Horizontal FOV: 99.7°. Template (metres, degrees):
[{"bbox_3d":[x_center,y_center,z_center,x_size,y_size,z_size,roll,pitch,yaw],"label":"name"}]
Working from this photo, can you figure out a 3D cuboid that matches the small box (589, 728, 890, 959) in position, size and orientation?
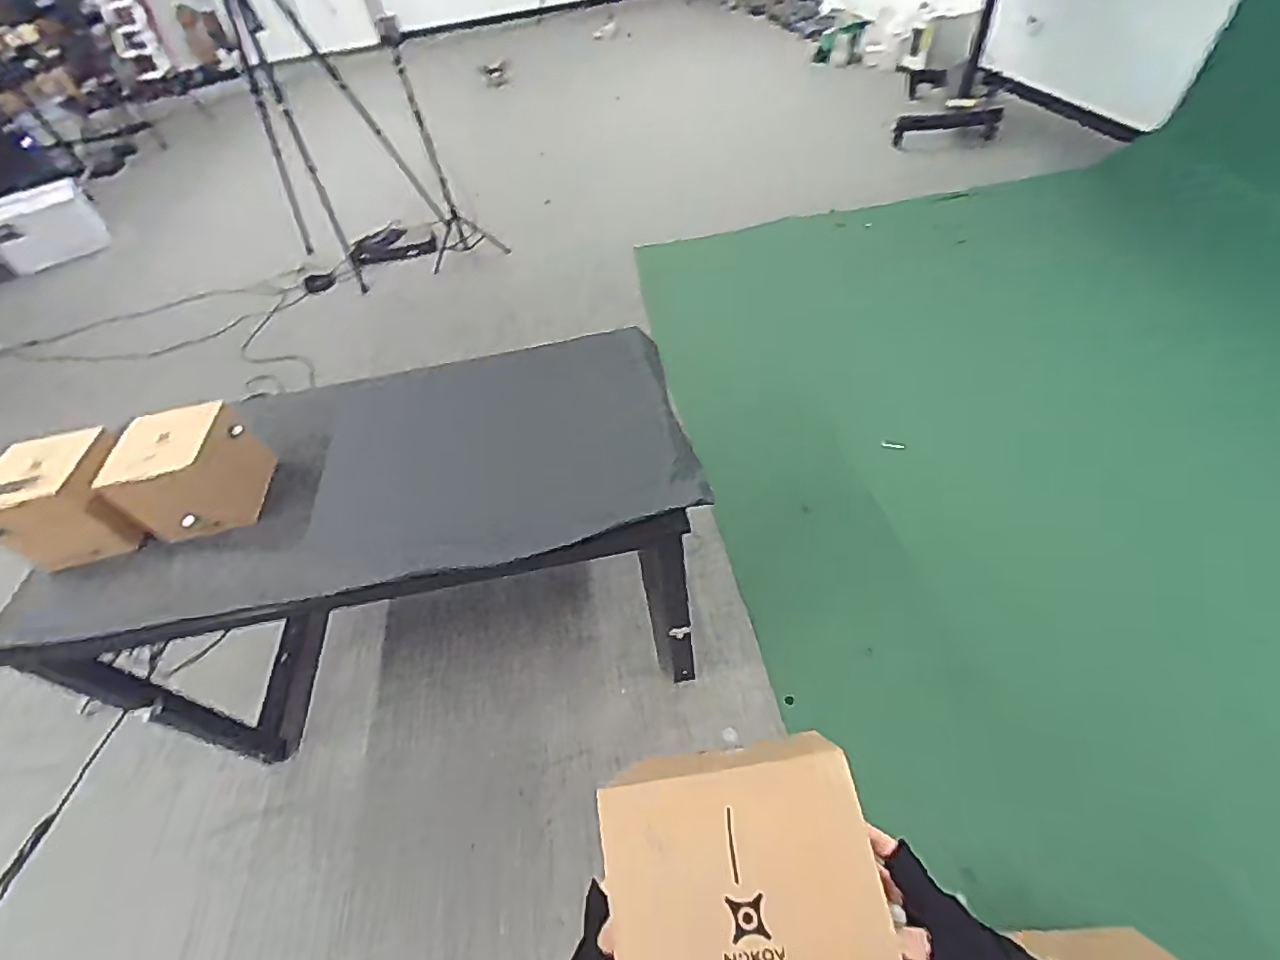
[{"bbox_3d":[0.073,0.290,0.391,0.168,0.176,0.179,-13,66,6],"label":"small box"}]
